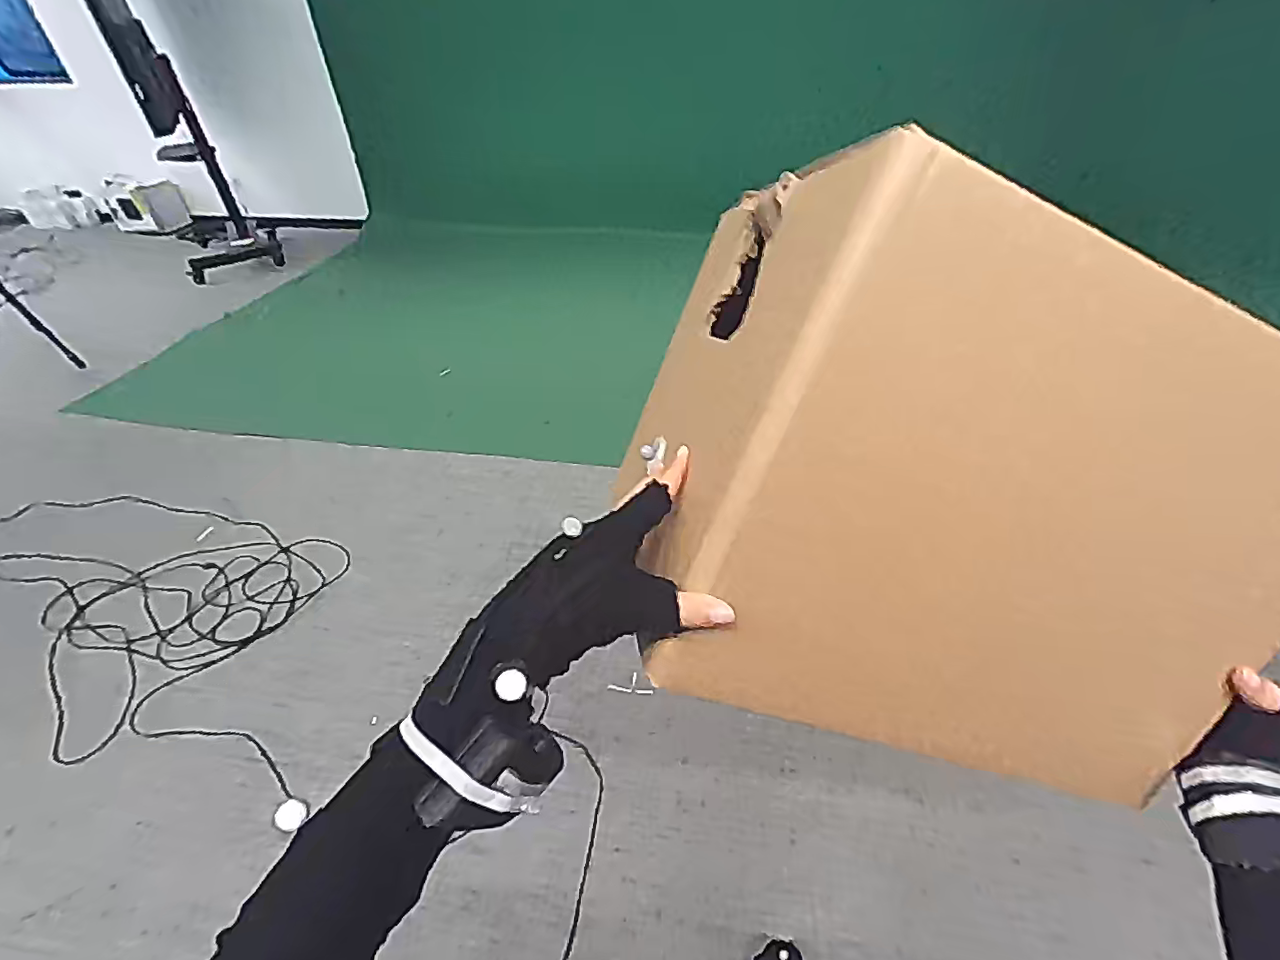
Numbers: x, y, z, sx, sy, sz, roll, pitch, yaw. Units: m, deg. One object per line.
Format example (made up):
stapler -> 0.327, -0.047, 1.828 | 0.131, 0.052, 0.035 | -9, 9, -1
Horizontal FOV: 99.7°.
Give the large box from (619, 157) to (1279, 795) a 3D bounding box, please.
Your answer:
large box -> 0.230, 0.003, 0.471 | 0.408, 0.320, 0.320 | 20, 16, -13
